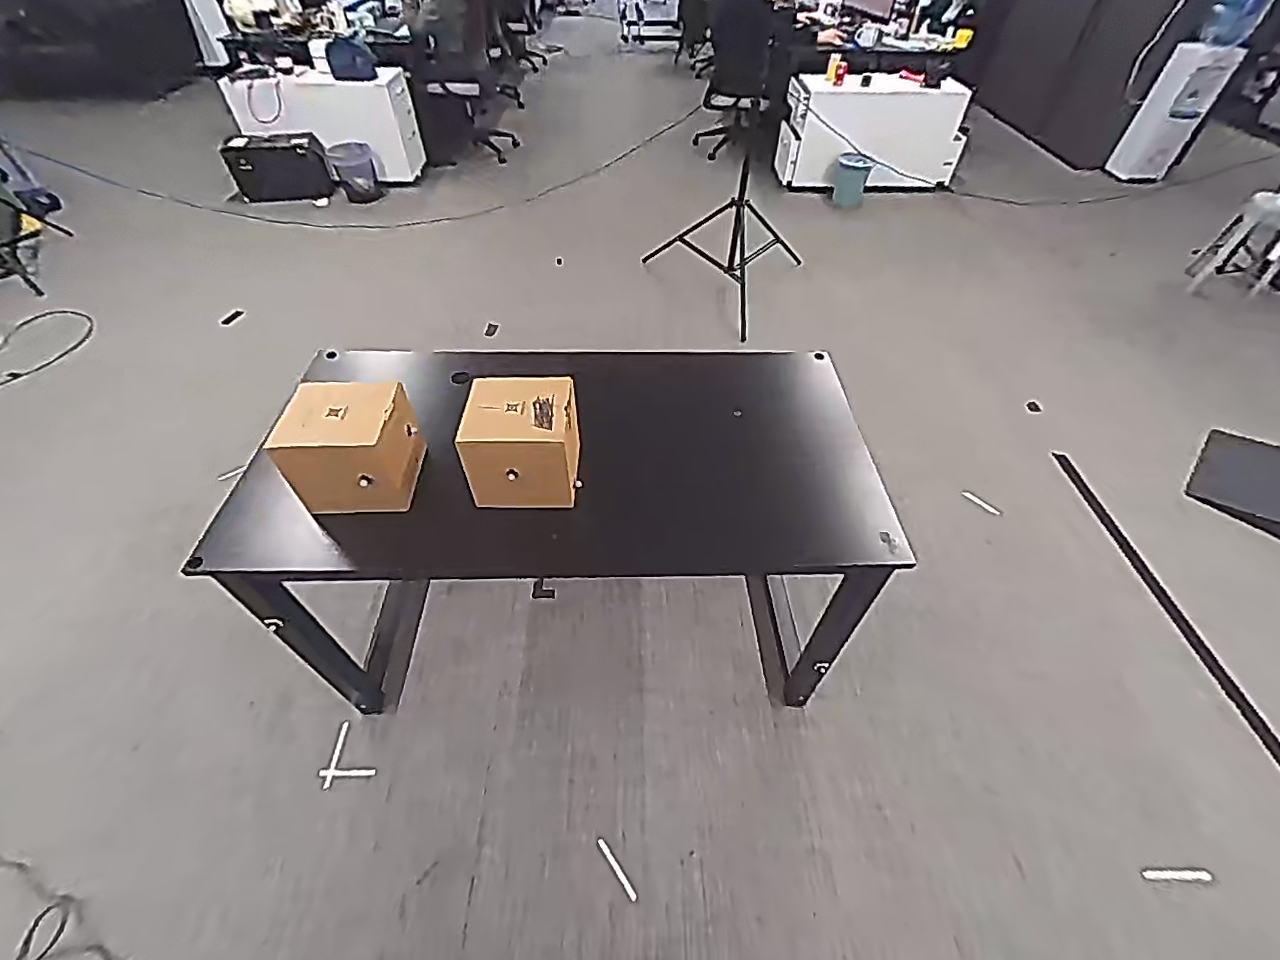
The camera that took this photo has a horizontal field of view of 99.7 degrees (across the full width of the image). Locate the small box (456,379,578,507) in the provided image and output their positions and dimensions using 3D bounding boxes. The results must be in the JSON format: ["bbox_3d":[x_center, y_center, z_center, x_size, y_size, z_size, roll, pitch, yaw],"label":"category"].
[{"bbox_3d":[-0.207,-0.063,0.969,0.179,0.176,0.168,-1,48,0],"label":"small box"}]

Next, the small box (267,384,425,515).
[{"bbox_3d":[-0.501,-0.052,0.957,0.179,0.176,0.168,-3,47,-3],"label":"small box"}]
